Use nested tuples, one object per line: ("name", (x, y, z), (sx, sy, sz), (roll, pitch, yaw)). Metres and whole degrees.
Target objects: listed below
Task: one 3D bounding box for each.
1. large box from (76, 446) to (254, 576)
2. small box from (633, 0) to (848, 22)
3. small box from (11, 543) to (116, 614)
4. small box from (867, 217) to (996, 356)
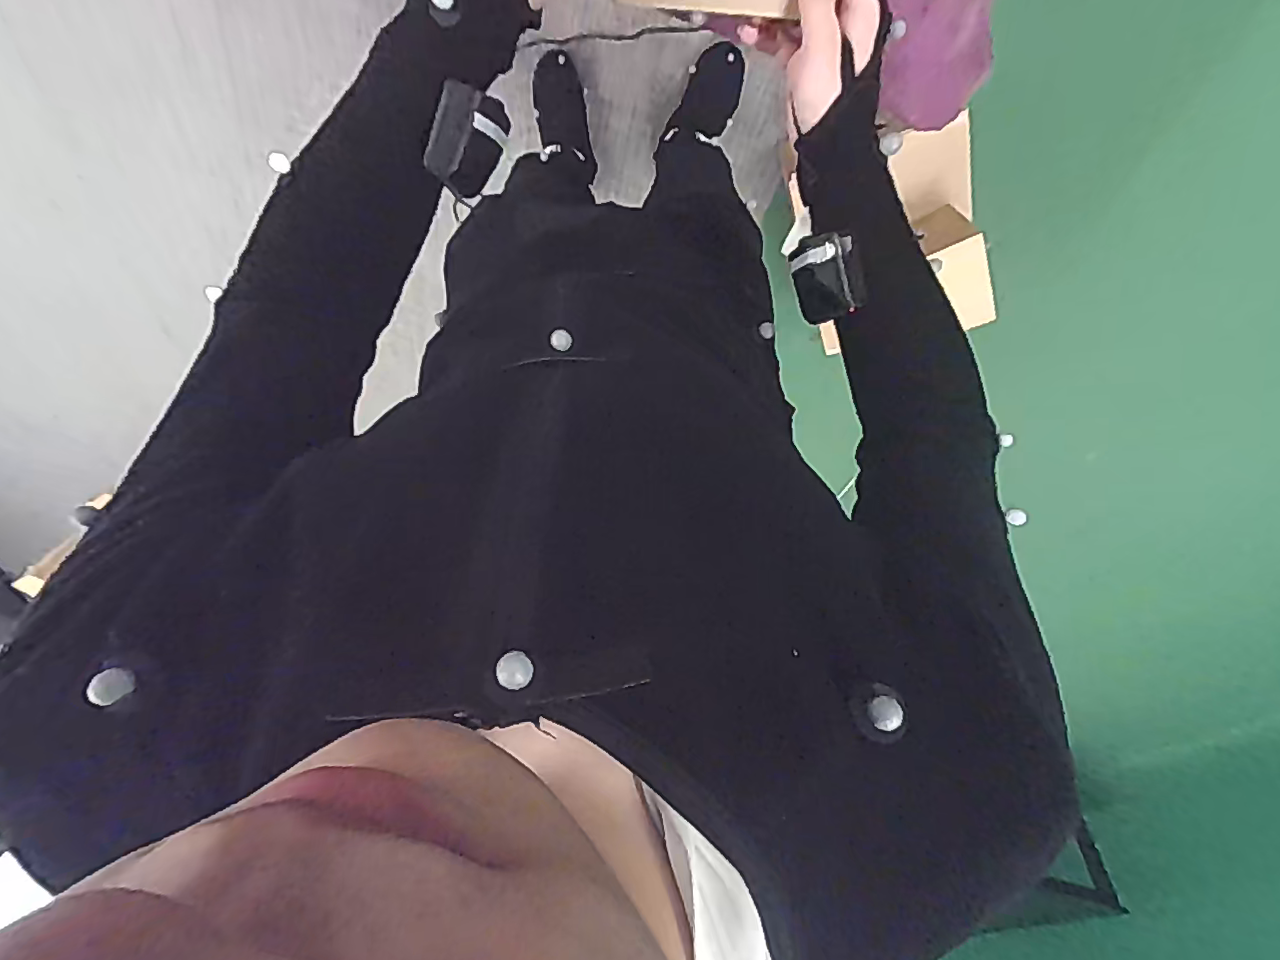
("large box", (-1.967, 0.134, 2.264), (0.320, 0.320, 0.408), (-20, 127, 26))
("small box", (0.073, -0.451, 0.361), (0.168, 0.176, 0.179), (3, 147, -3))
("small box", (-2.024, 0.344, 1.908), (0.179, 0.176, 0.168), (-19, 126, 25))
("small box", (0.550, -0.376, 1.034), (0.168, 0.176, 0.179), (-19, 126, 24))
